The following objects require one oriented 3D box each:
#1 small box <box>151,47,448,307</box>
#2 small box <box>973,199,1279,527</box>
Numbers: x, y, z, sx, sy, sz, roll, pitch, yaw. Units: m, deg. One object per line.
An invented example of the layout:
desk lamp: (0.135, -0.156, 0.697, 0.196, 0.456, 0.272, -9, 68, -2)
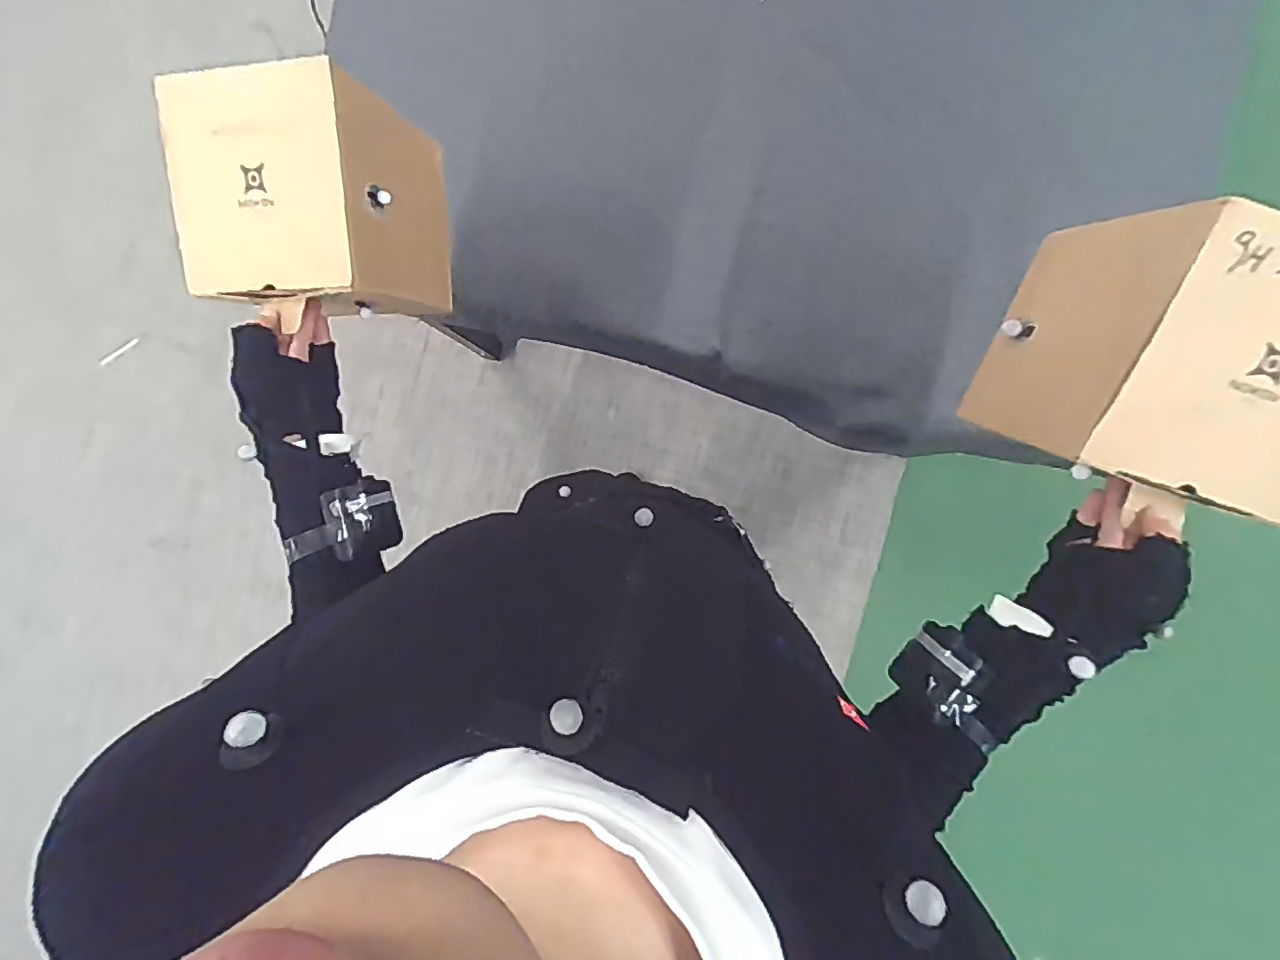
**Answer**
small box: (-0.301, -0.263, 0.518, 0.168, 0.176, 0.179, 1, 101, 9)
small box: (0.407, -0.093, 0.429, 0.168, 0.176, 0.179, 17, 109, -3)
